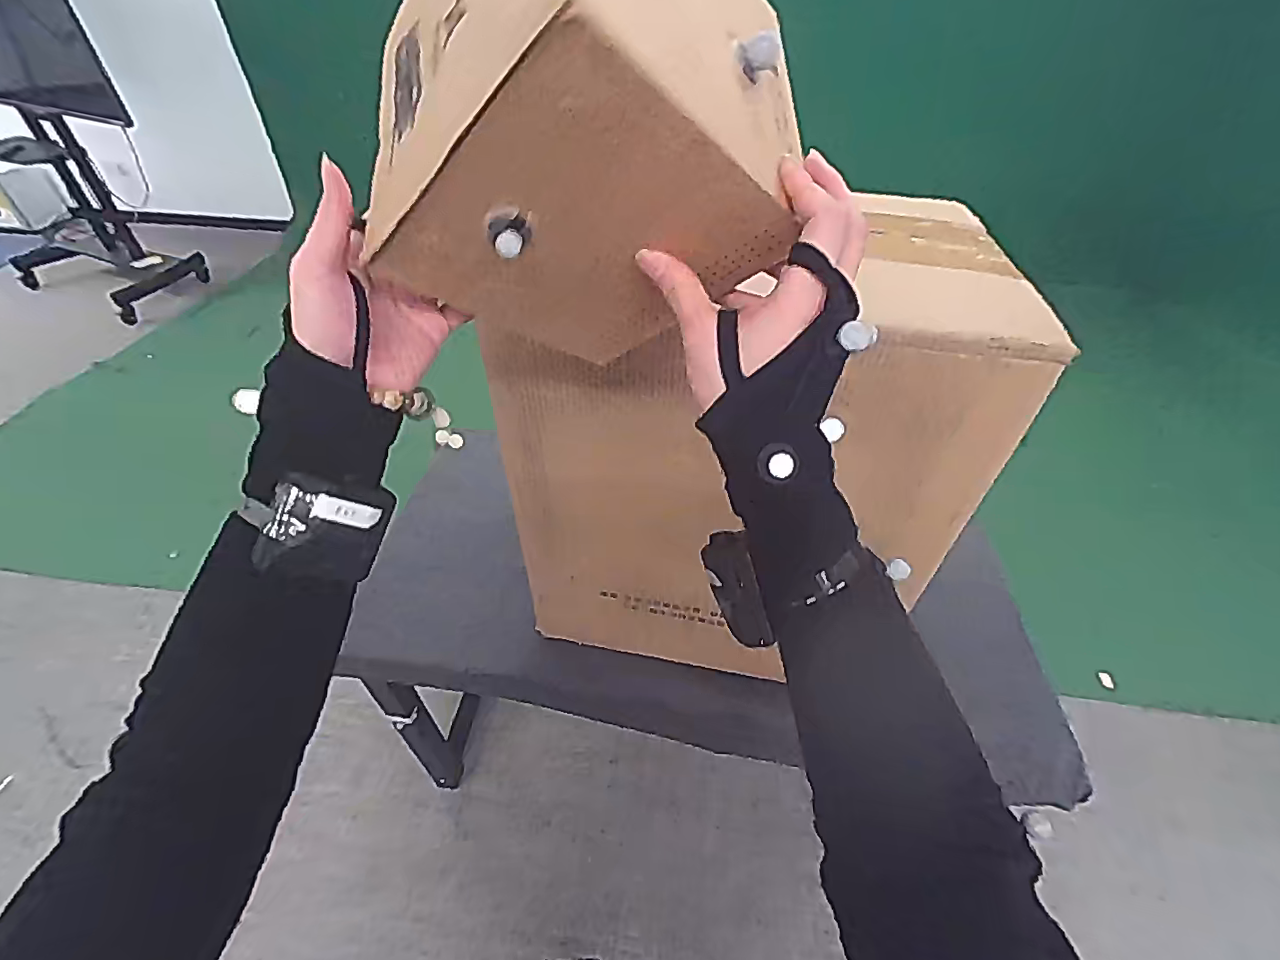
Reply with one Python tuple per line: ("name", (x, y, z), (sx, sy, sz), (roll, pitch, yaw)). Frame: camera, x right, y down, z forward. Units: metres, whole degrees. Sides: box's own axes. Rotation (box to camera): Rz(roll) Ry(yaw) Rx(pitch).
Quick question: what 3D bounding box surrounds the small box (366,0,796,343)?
("small box", (-0.033, -0.201, 0.314), (0.176, 0.179, 0.168), (11, 72, -45))
